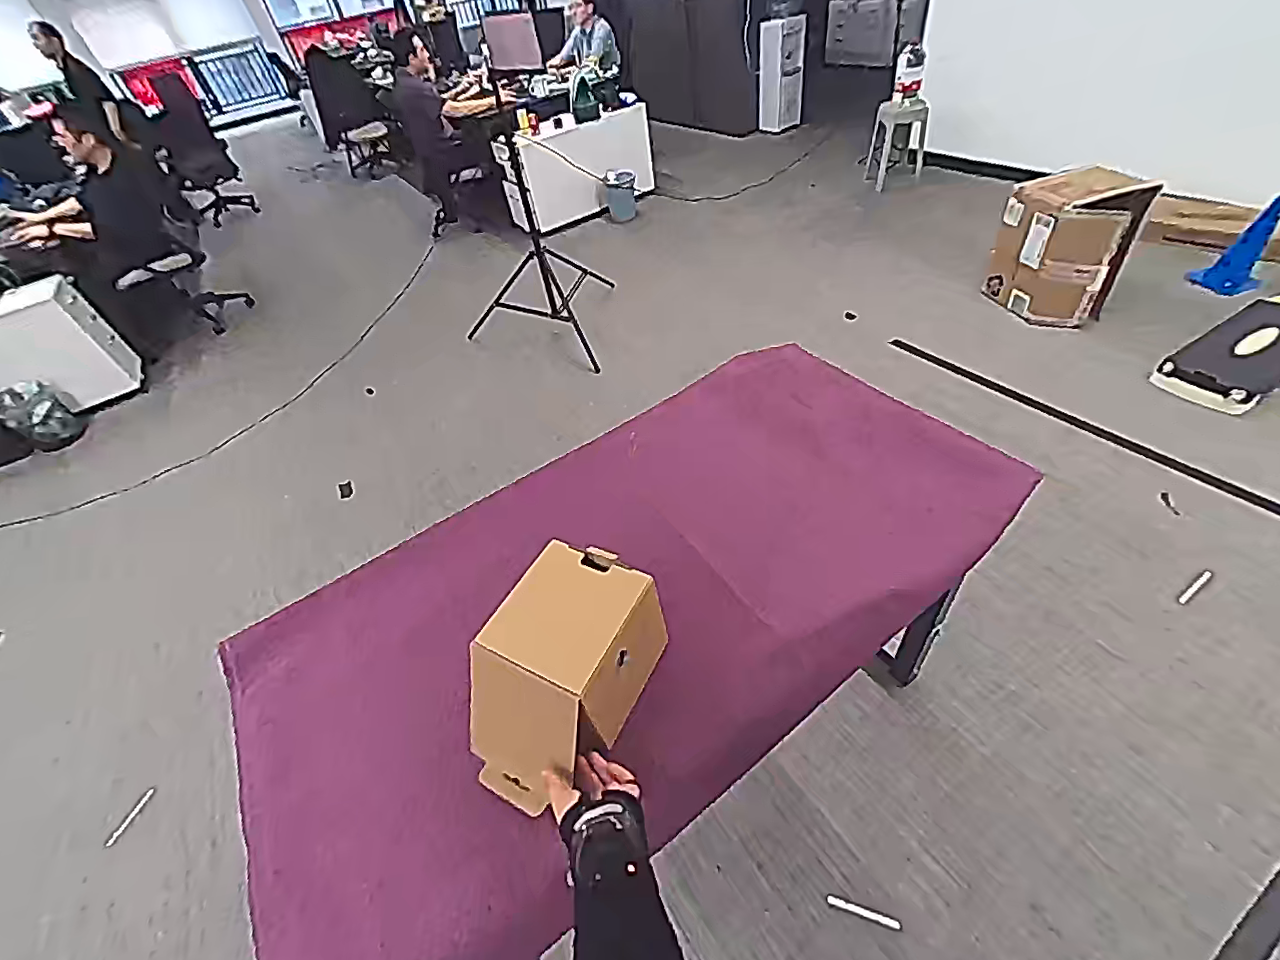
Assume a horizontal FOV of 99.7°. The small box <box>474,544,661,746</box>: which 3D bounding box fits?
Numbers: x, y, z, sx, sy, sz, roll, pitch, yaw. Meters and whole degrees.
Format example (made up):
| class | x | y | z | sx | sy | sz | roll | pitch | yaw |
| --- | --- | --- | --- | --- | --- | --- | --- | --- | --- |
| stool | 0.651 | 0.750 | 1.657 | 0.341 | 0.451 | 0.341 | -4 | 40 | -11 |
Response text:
| class | x | y | z | sx | sy | sz | roll | pitch | yaw |
| --- | --- | --- | --- | --- | --- | --- | --- | --- | --- |
| small box | -0.084 | 0.224 | 0.733 | 0.168 | 0.176 | 0.179 | 16 | 50 | 26 |
